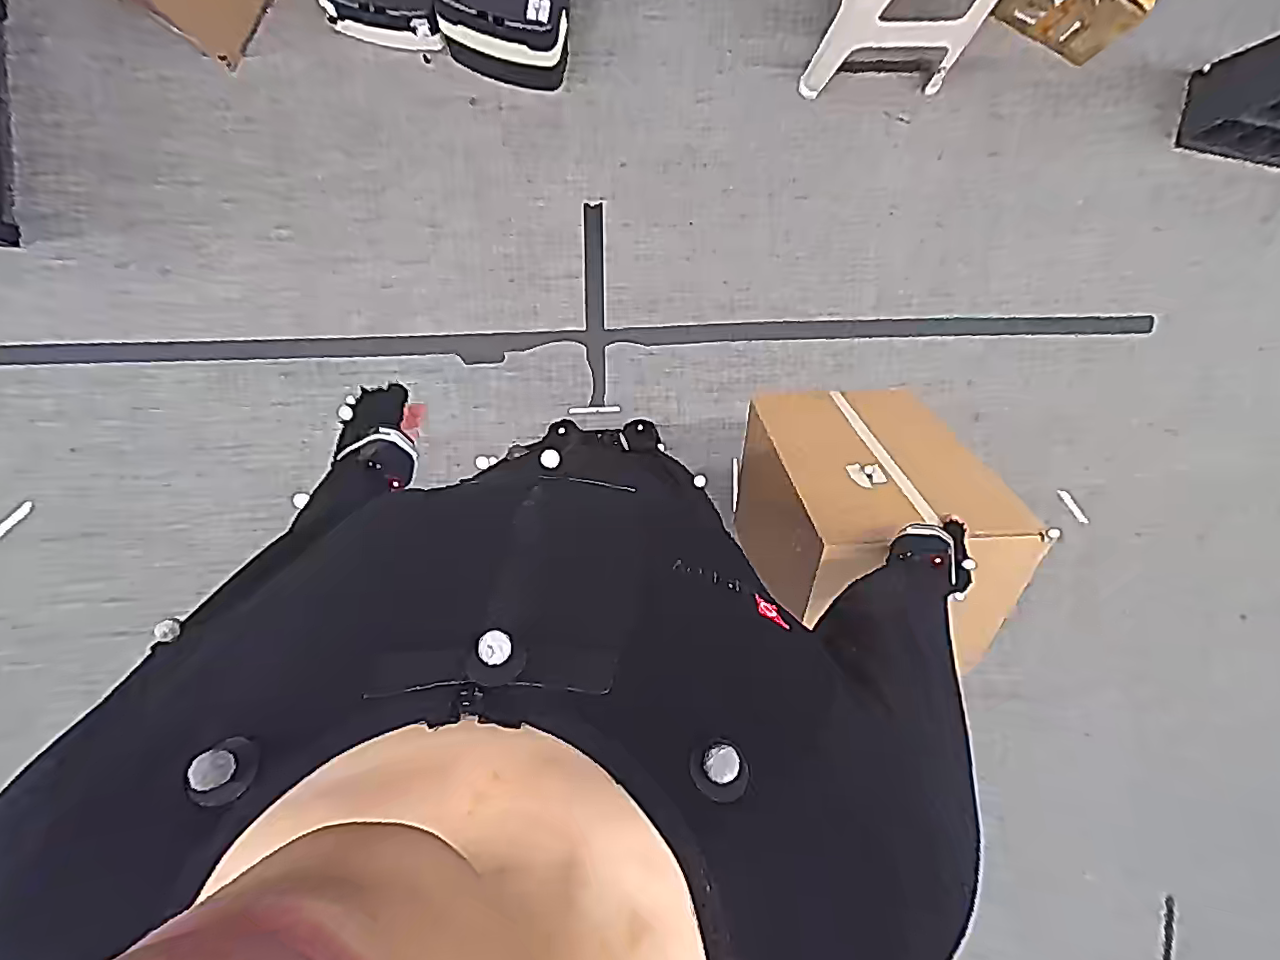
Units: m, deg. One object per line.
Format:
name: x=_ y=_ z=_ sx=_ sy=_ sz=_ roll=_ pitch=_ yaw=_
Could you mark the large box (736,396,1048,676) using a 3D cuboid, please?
large box: x=0.380 y=0.082 z=0.962 sx=0.320 sy=0.408 sz=0.320 roll=-2 pitch=128 yaw=-3
